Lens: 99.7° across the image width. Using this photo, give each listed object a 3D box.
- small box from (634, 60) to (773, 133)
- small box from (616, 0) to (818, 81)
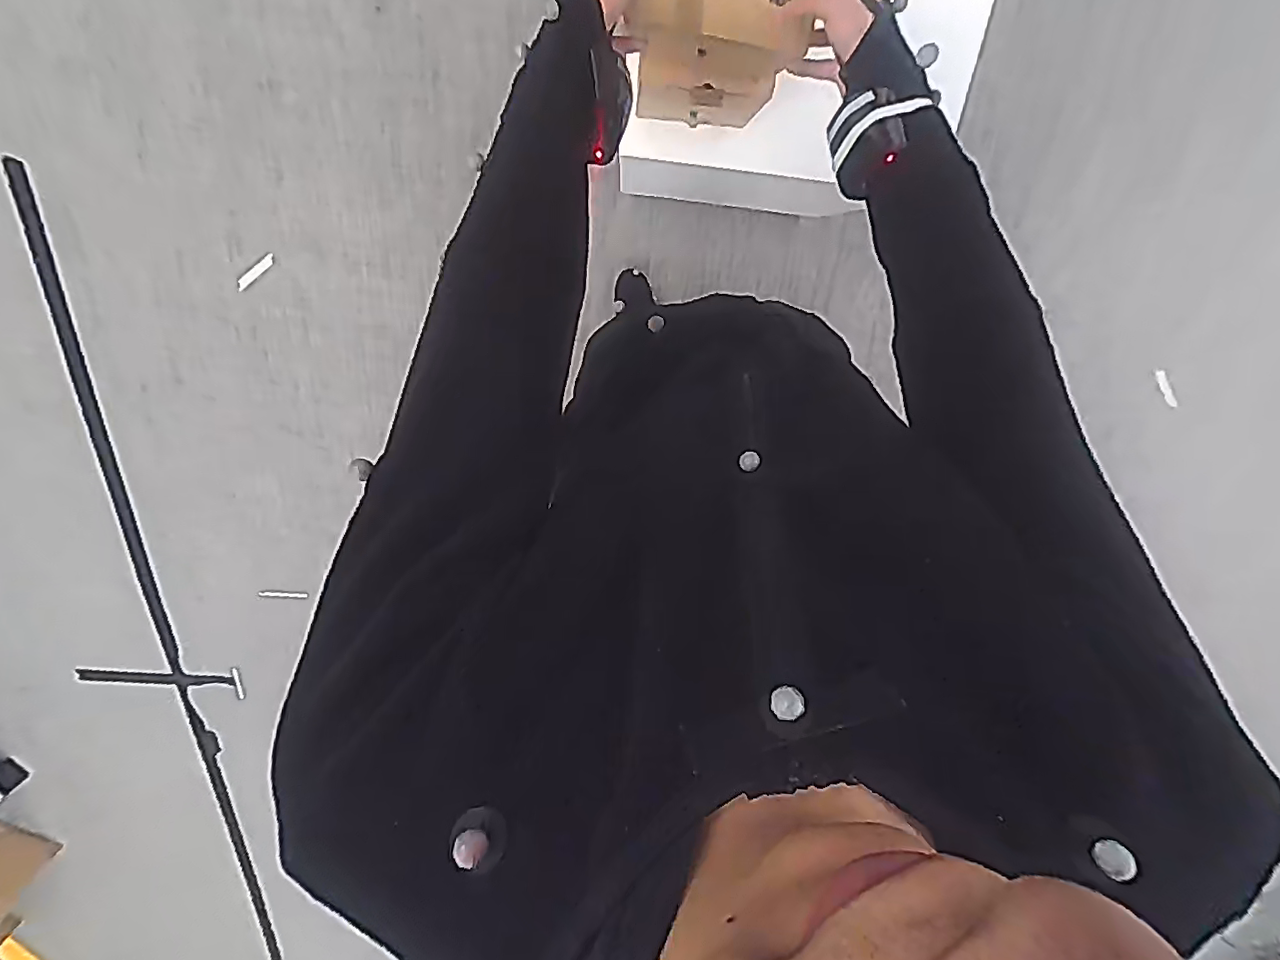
[{"bbox_3d":[0.082,-0.574,0.697,0.168,0.176,0.179,4,113,-3],"label":"small box"},{"bbox_3d":[0.078,-0.506,0.523,0.179,0.176,0.168,8,120,-3],"label":"small box"}]
